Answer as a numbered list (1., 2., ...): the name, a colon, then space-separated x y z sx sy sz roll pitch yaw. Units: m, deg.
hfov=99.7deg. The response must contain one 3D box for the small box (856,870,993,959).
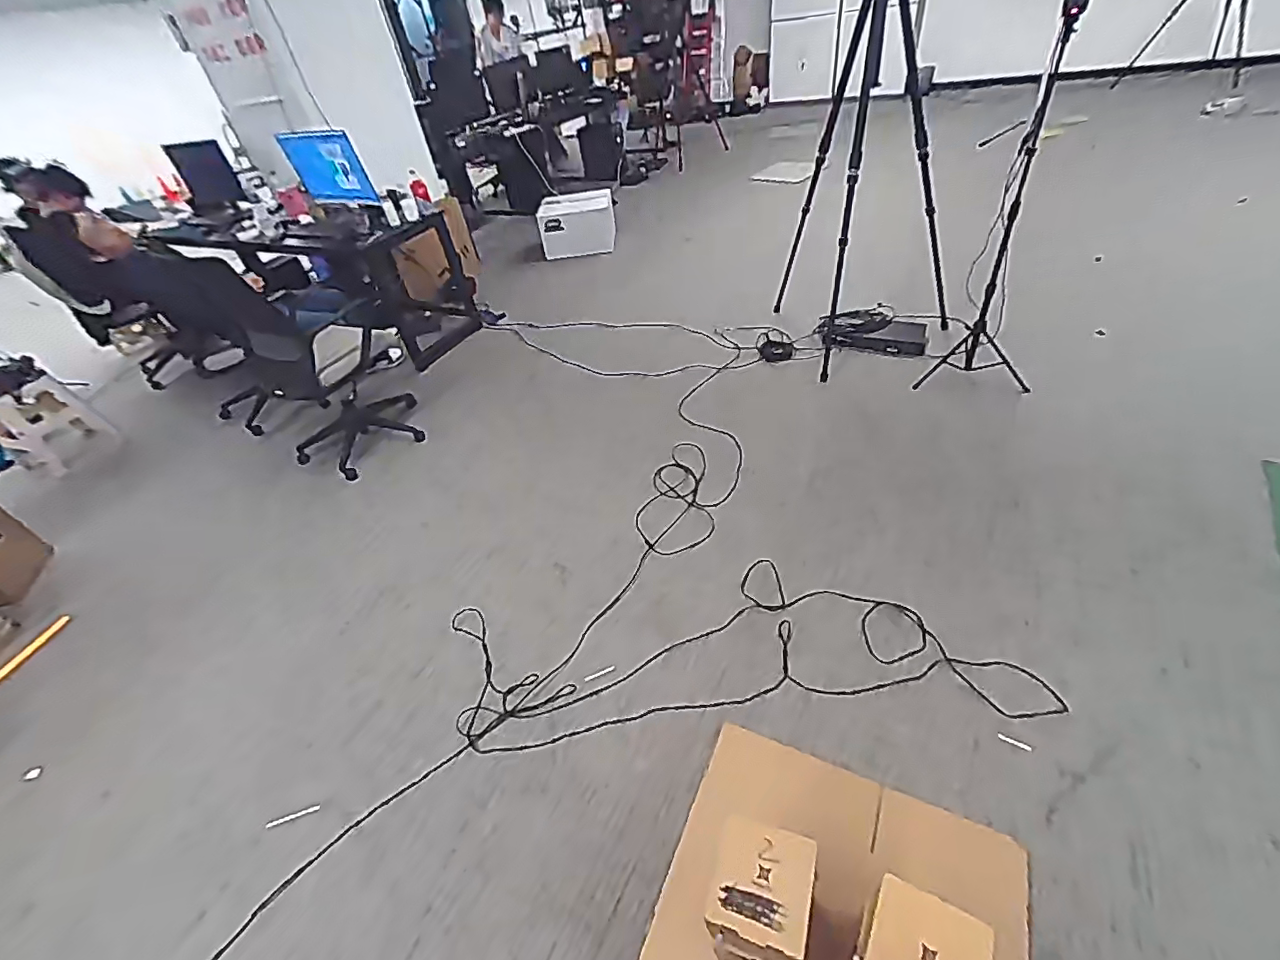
1. small box: 0.454 0.795 0.886 0.168 0.176 0.179 15 48 27

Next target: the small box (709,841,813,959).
1. small box: 0.247 0.874 1.086 0.168 0.176 0.179 9 45 22

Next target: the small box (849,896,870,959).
1. small box: 0.474 0.919 0.989 0.168 0.176 0.179 12 47 26
